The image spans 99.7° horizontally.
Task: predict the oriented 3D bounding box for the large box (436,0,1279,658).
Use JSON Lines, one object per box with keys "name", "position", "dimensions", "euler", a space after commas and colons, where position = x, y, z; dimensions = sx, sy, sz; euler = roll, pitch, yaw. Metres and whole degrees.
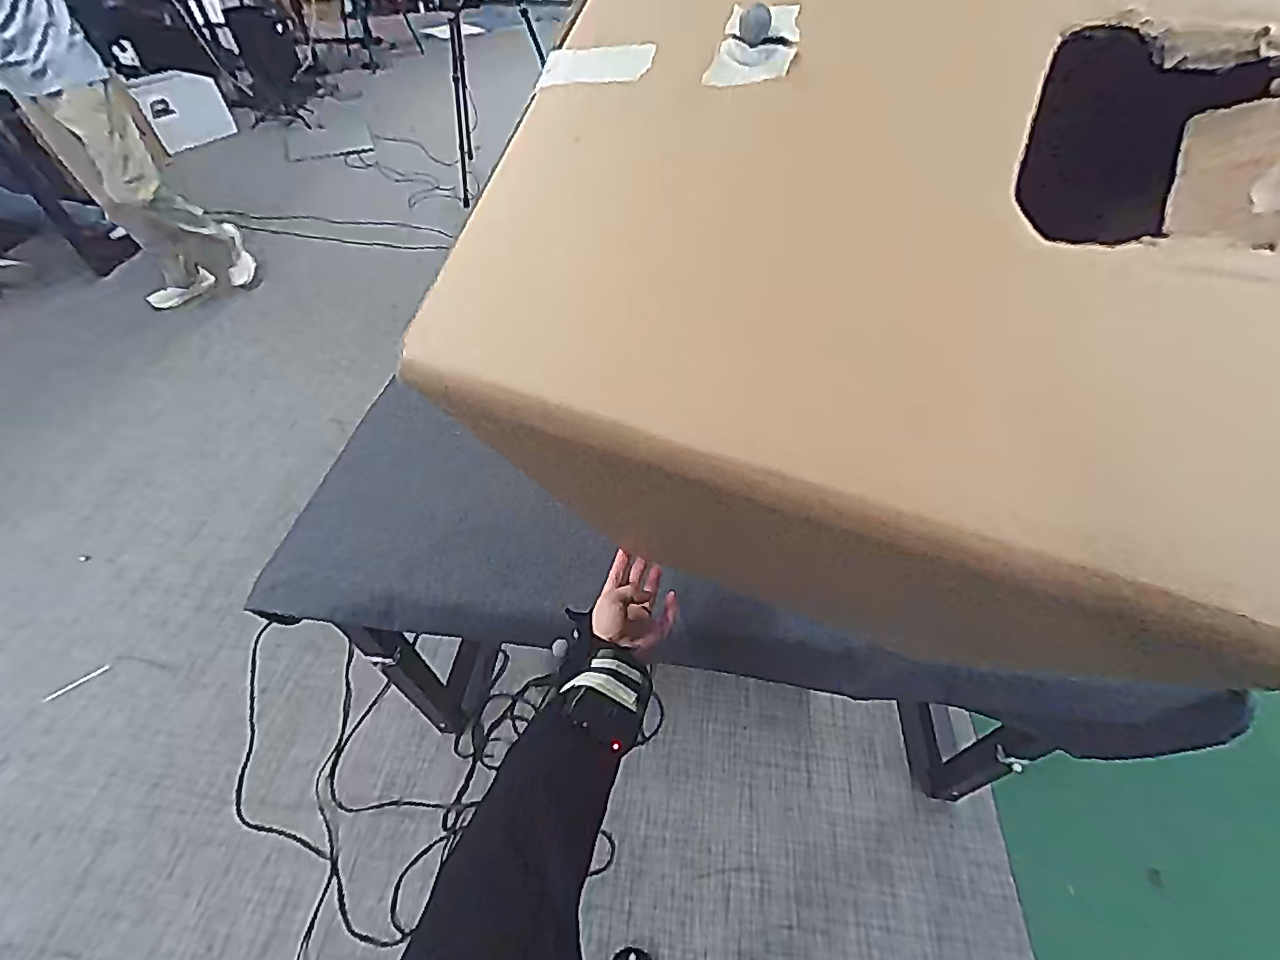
{"name": "large box", "position": [0.131, -0.083, 0.400], "dimensions": [0.320, 0.408, 0.320], "euler": [18, 78, 15]}
